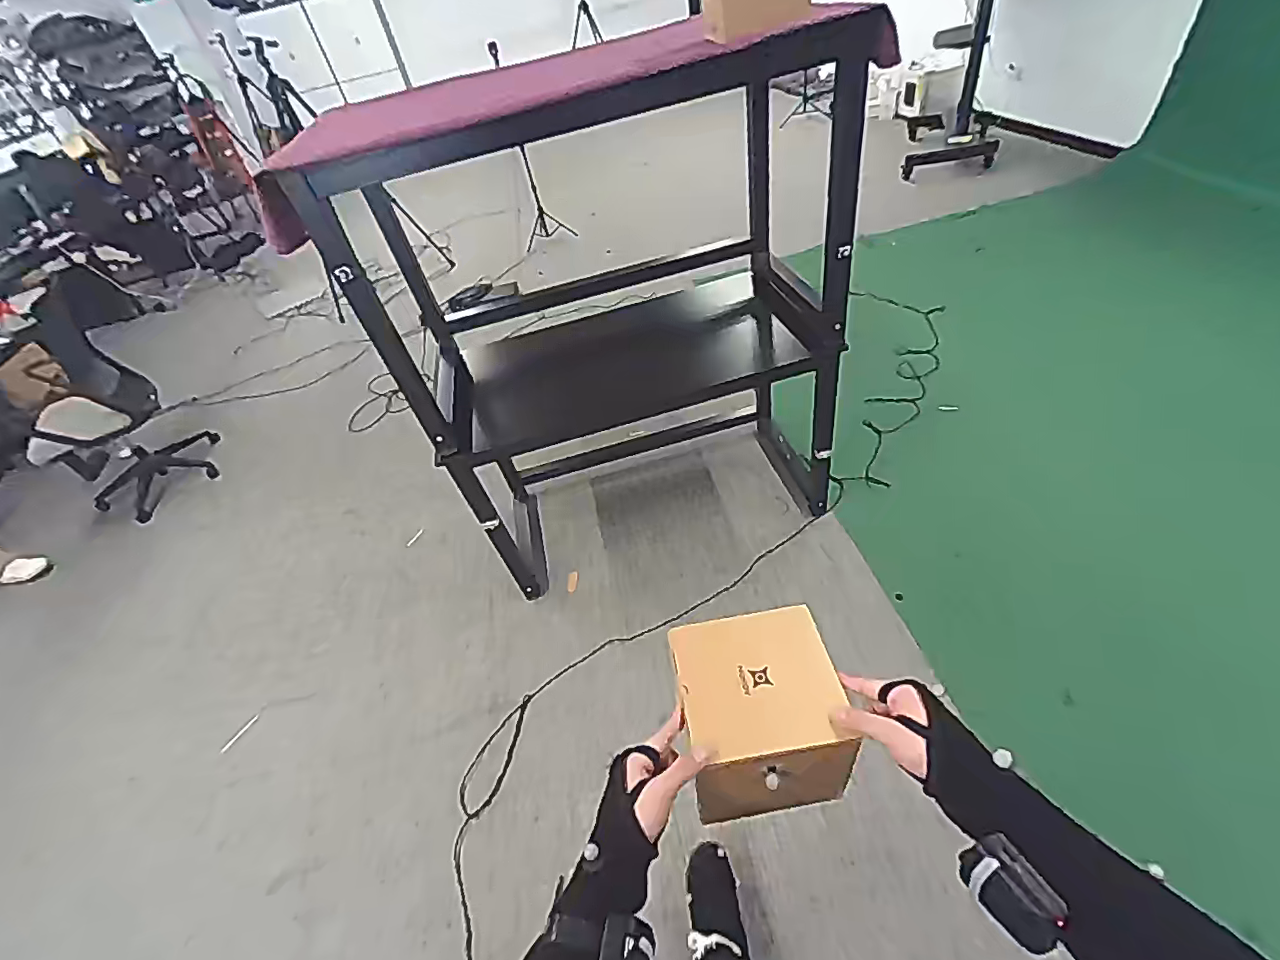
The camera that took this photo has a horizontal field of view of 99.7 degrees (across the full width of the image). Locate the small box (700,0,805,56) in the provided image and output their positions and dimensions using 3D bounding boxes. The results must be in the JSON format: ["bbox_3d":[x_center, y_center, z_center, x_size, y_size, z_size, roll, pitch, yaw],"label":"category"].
[{"bbox_3d":[0.215,-0.956,1.057,0.179,0.176,0.168,-13,44,2],"label":"small box"}]

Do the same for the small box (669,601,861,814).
[{"bbox_3d":[0.138,0.275,0.654,0.179,0.176,0.168,-11,40,-1],"label":"small box"}]
